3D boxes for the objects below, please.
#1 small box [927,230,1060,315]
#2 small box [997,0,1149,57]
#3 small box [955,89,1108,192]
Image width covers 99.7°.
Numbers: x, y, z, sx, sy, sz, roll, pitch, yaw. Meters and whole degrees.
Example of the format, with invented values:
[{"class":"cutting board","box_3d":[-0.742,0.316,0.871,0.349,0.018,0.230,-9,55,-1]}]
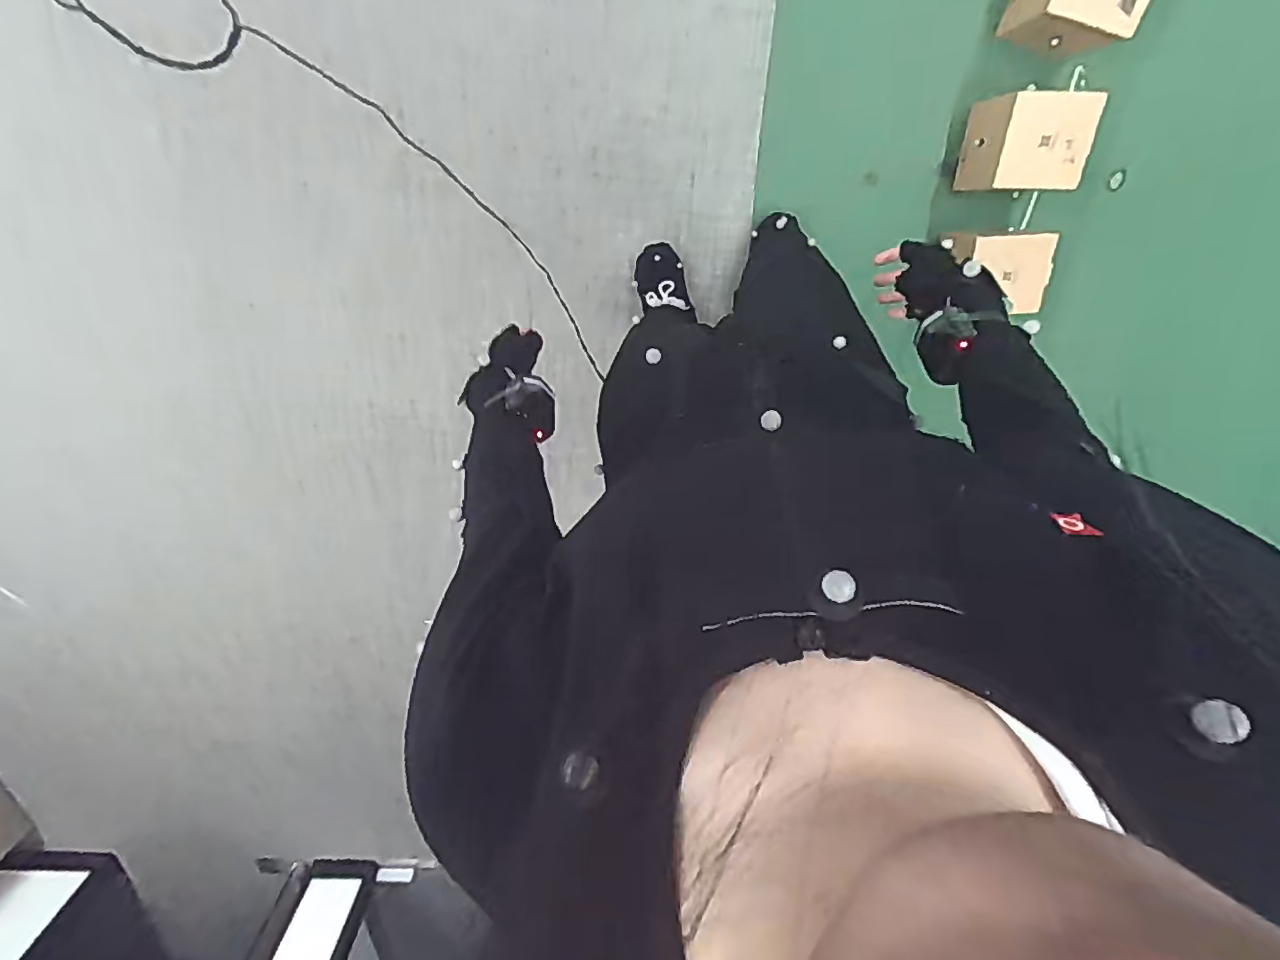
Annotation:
[{"class":"small box","box_3d":[0.801,-0.481,1.244,0.179,0.176,0.168,-2,116,1]},{"class":"small box","box_3d":[0.834,-0.933,1.020,0.179,0.176,0.168,13,115,-5]},{"class":"small box","box_3d":[0.802,-0.702,1.132,0.179,0.176,0.168,1,117,-1]}]
